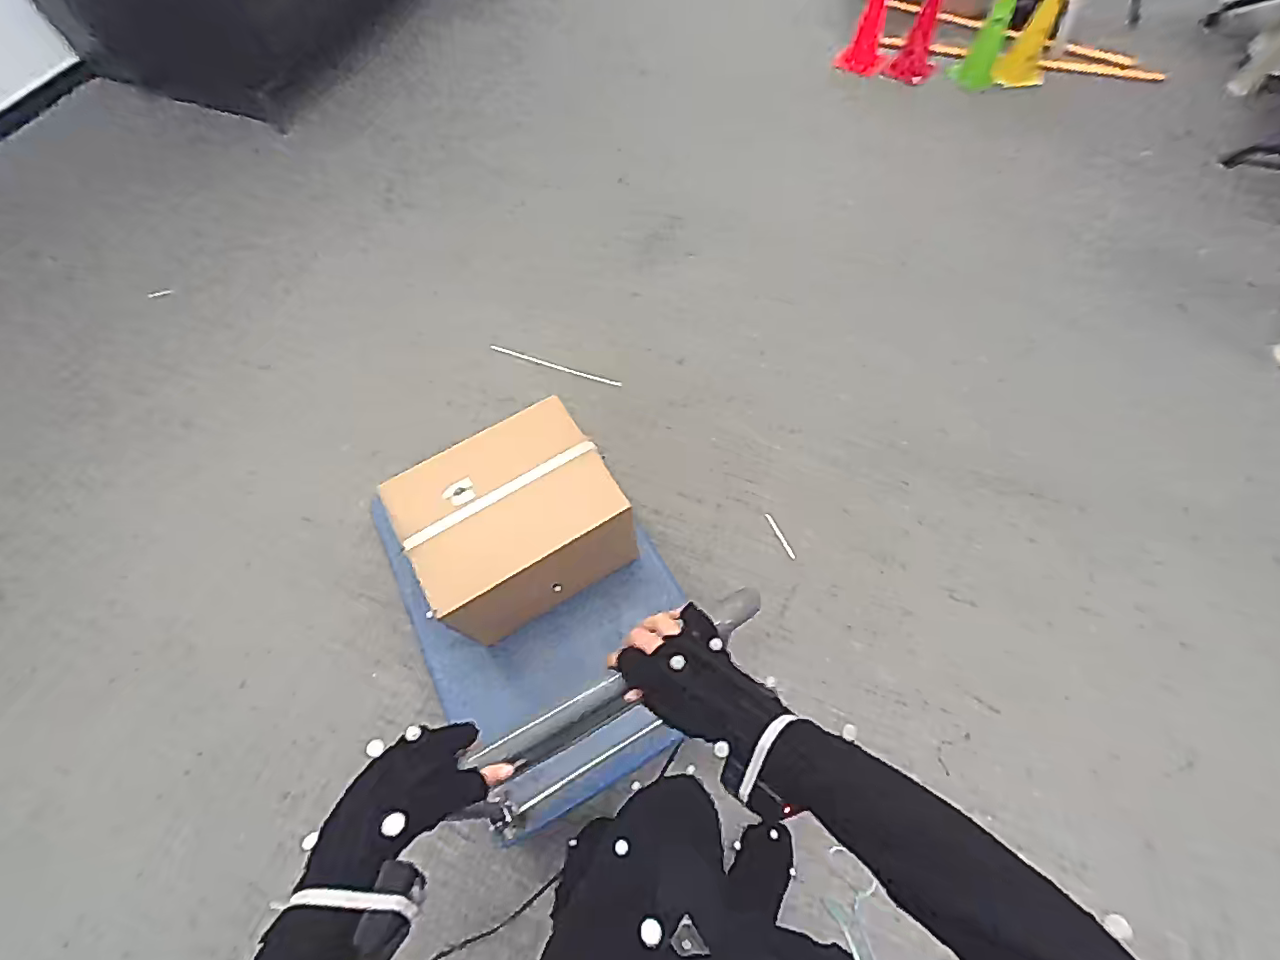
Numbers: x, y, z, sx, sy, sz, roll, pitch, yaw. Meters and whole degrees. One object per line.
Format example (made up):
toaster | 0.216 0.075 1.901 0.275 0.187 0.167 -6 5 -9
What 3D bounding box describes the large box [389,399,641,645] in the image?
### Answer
large box | -0.247 0.103 1.189 0.408 0.320 0.320 -31 66 -11
